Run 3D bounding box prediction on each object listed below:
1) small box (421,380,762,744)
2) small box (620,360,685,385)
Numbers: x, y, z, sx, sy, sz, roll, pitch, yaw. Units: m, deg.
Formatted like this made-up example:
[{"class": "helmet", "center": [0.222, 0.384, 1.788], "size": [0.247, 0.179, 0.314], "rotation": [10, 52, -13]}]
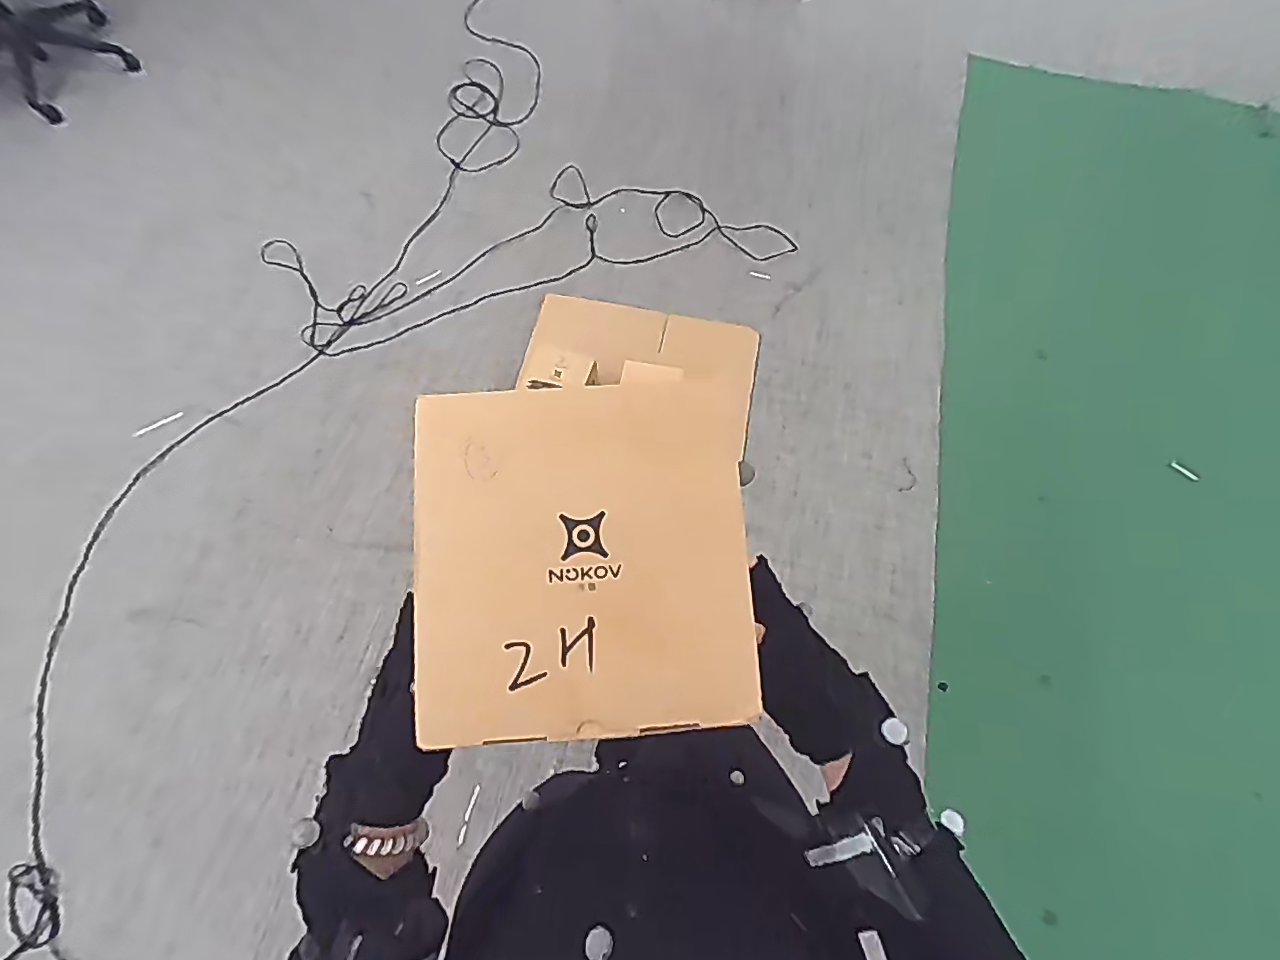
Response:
[{"class": "small box", "center": [-0.029, 0.049, 0.351], "size": [0.168, 0.176, 0.179], "rotation": [-4, 81, -2]}, {"class": "small box", "center": [0.023, -0.203, 1.502], "size": [0.168, 0.176, 0.179], "rotation": [10, 69, 2]}]
